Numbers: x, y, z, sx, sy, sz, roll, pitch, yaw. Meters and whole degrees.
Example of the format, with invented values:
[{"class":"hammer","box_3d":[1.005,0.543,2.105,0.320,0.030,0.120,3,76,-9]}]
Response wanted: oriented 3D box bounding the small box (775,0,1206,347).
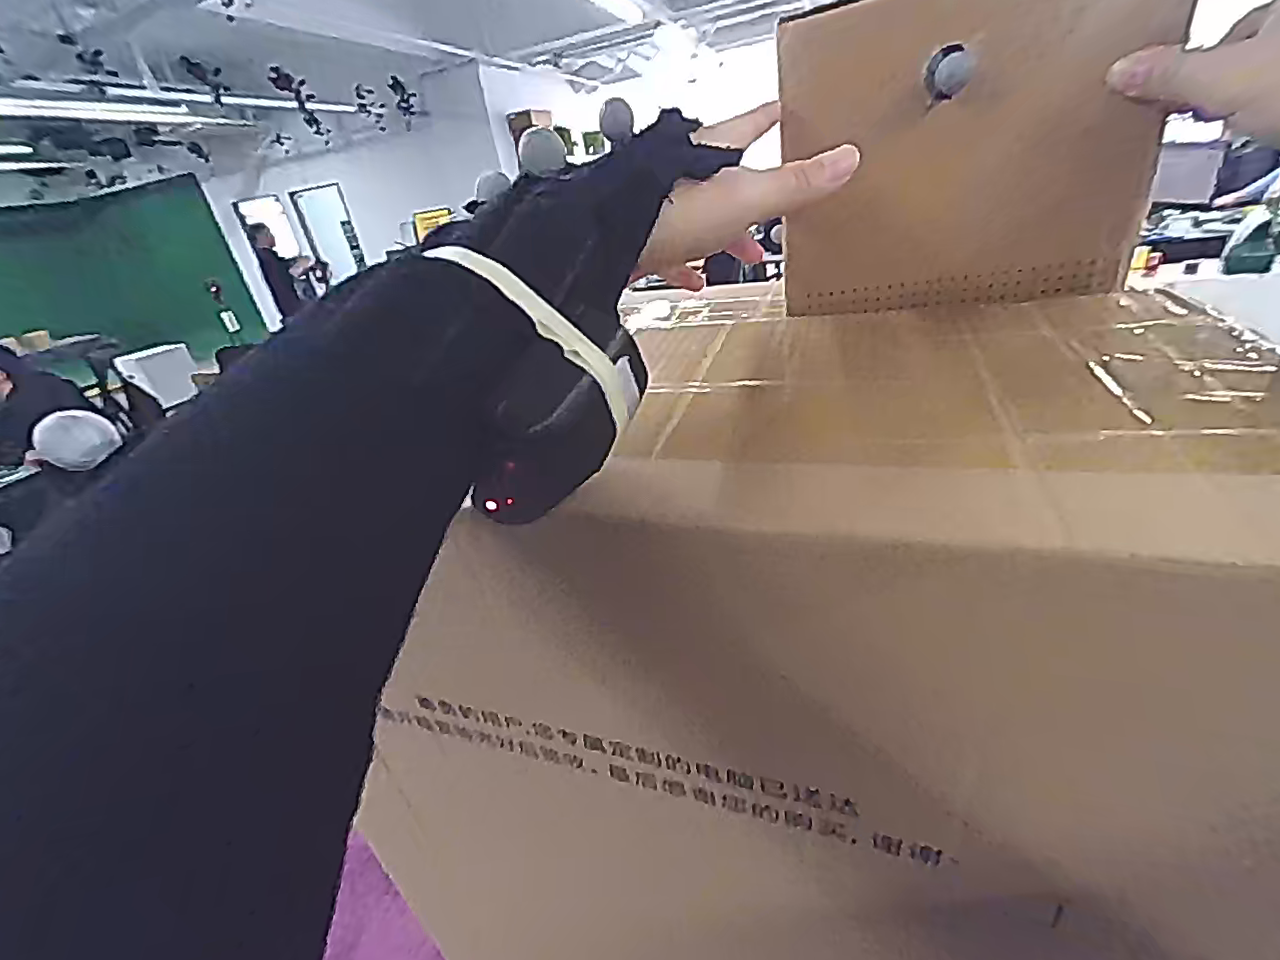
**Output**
[{"class":"small box","box_3d":[0.183,-0.195,0.342,0.179,0.176,0.168,-2,31,18]}]
